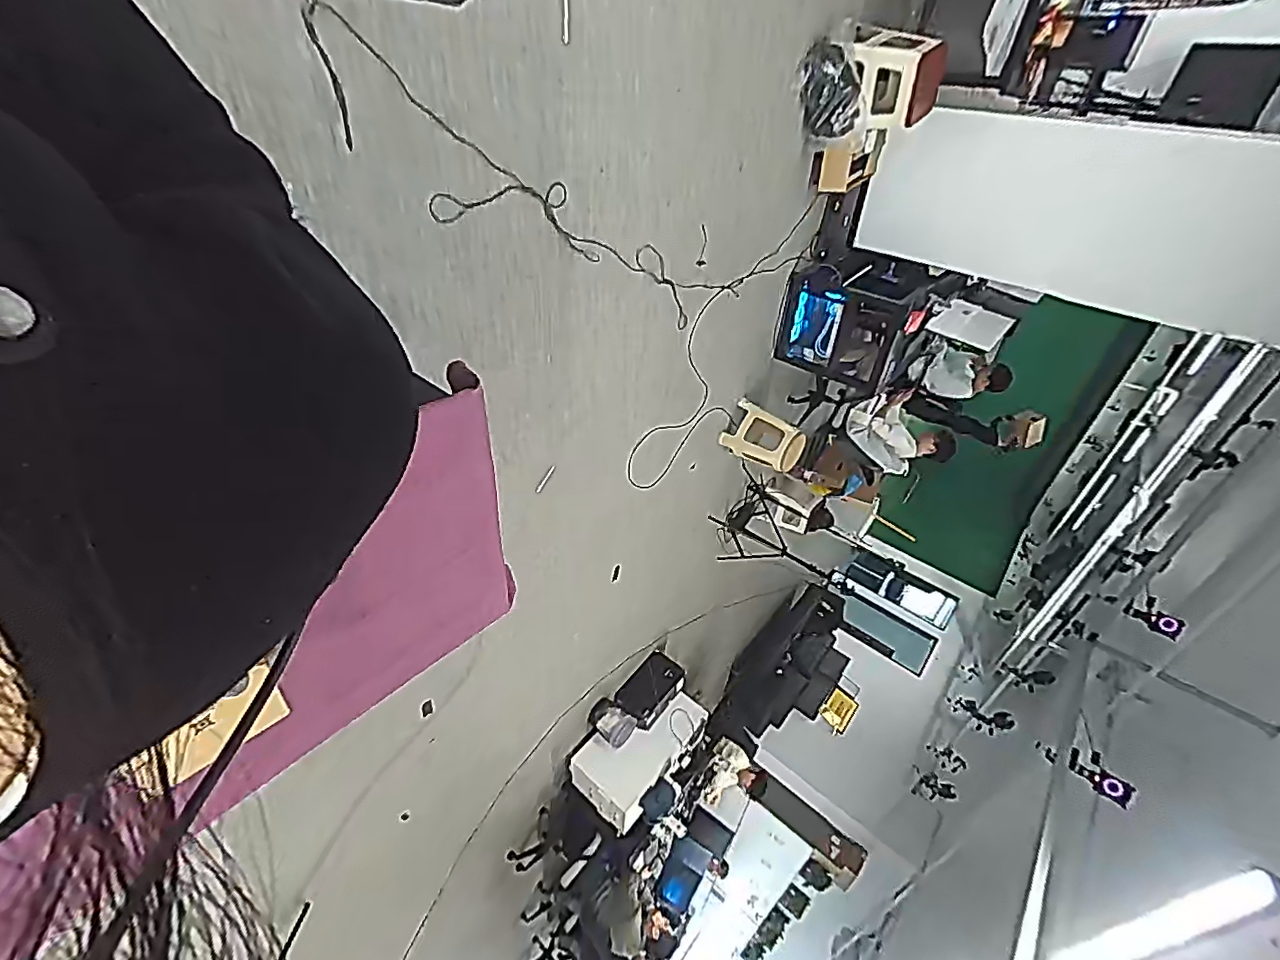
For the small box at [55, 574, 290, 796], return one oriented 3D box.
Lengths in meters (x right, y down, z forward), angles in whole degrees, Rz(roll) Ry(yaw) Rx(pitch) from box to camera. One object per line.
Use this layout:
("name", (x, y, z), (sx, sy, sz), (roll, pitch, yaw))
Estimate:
("small box", (-0.605, 0.259, 0.713), (0.168, 0.176, 0.179), (-32, 142, -41))
